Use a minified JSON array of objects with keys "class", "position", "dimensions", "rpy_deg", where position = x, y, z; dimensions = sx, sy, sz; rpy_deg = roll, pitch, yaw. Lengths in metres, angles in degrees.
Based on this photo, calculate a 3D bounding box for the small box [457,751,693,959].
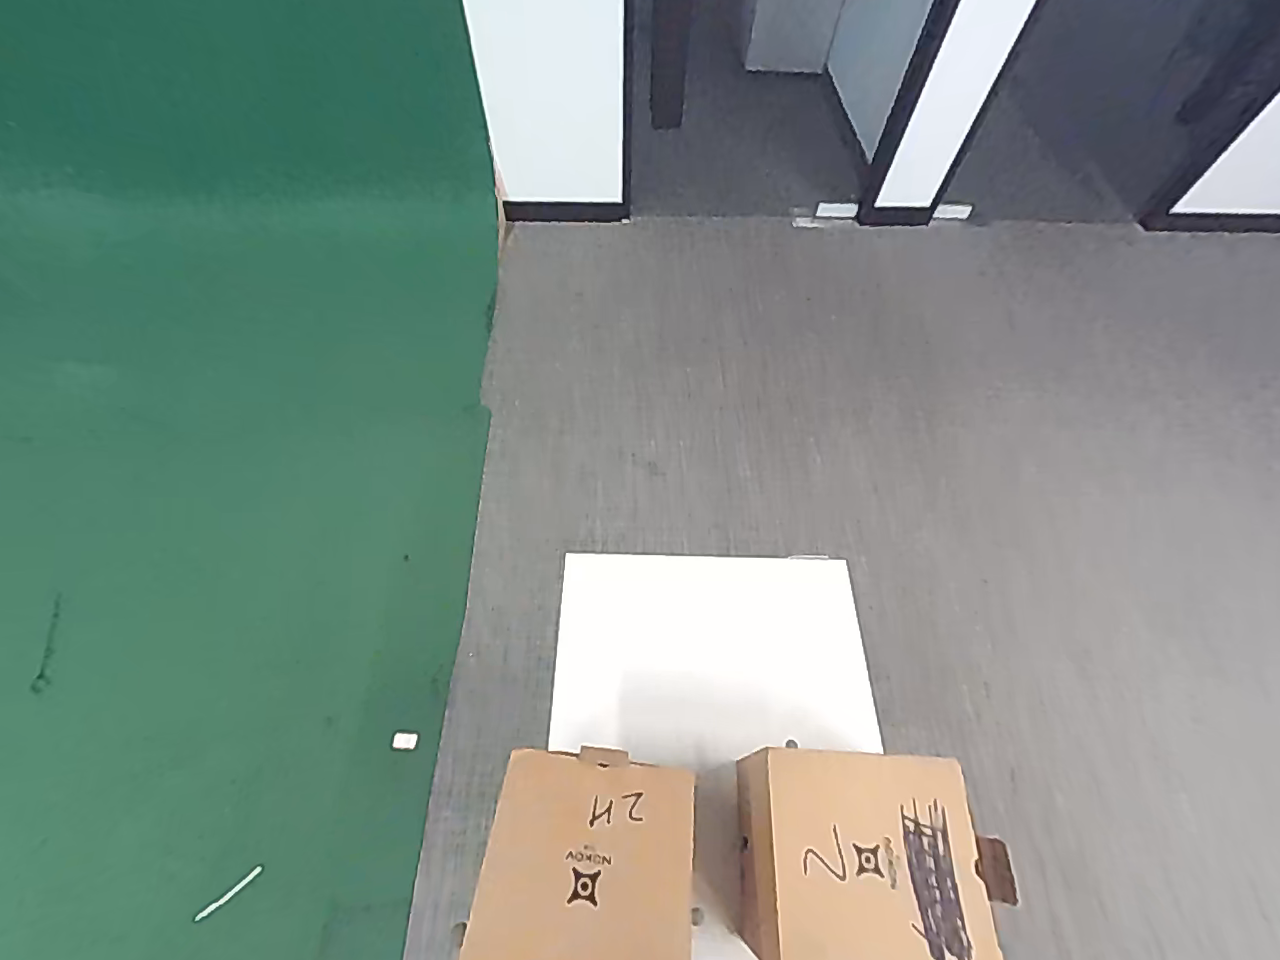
[{"class":"small box","position":[-0.049,0.368,0.473],"dimensions":[0.168,0.176,0.179],"rpy_deg":[8,43,0]}]
